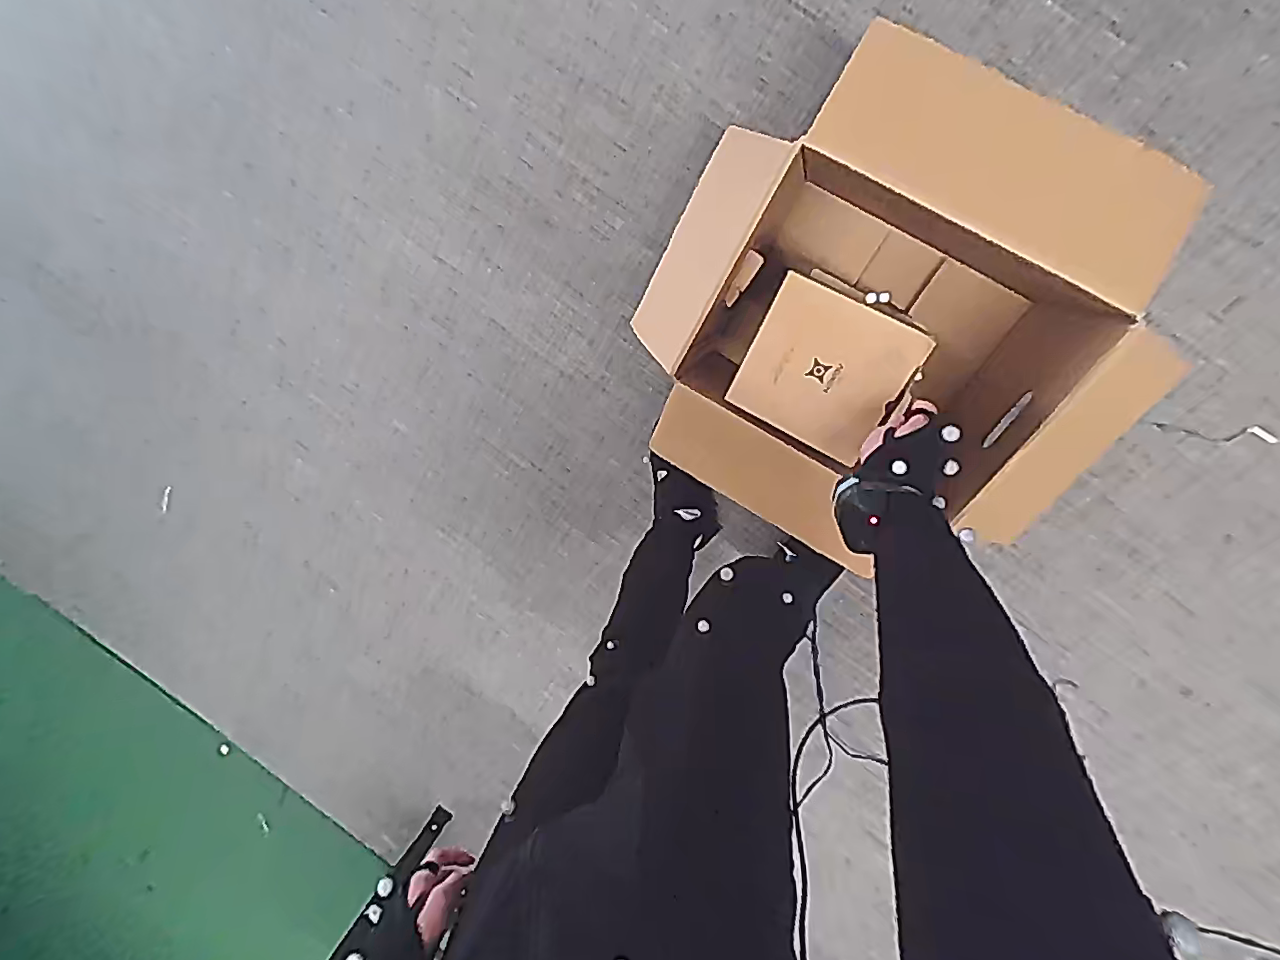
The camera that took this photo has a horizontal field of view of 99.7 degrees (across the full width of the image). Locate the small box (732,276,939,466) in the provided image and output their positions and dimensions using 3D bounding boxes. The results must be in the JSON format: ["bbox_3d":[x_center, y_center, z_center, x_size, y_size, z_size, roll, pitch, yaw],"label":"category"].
[{"bbox_3d":[0.248,-0.145,0.696,0.179,0.176,0.168,31,115,13],"label":"small box"}]
